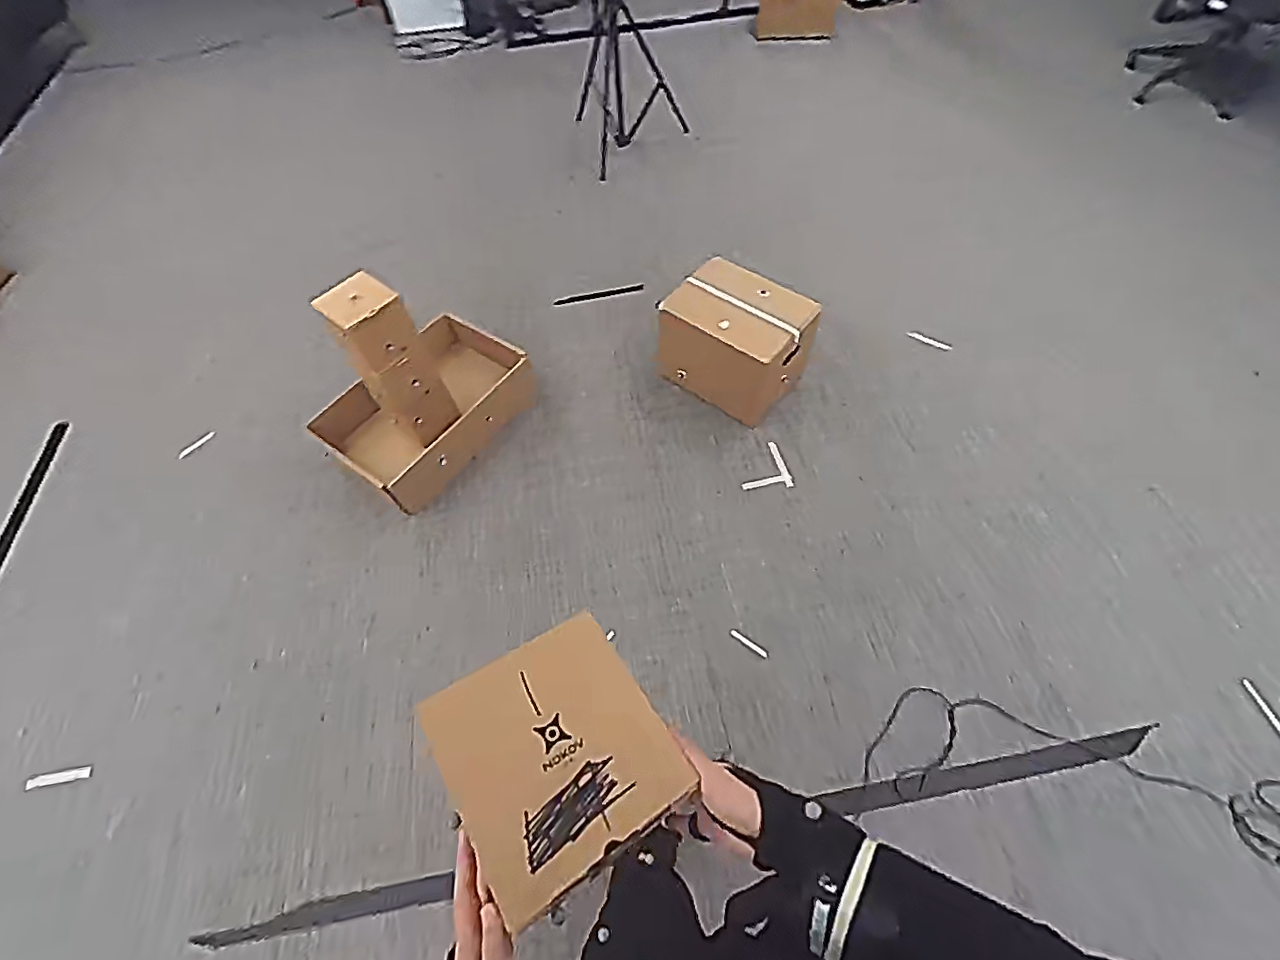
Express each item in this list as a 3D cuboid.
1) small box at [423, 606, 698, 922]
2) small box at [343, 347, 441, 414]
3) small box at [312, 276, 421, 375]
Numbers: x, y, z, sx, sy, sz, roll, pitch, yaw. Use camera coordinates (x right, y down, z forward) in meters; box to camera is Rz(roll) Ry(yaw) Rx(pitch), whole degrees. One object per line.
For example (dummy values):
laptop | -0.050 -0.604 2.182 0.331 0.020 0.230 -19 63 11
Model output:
small box | -0.074 0.255 0.496 0.168 0.176 0.179 -24 58 -26
small box | -0.729 -0.322 1.610 0.179 0.176 0.168 34 65 21
small box | -0.740 -0.417 1.477 0.179 0.176 0.168 33 64 22
